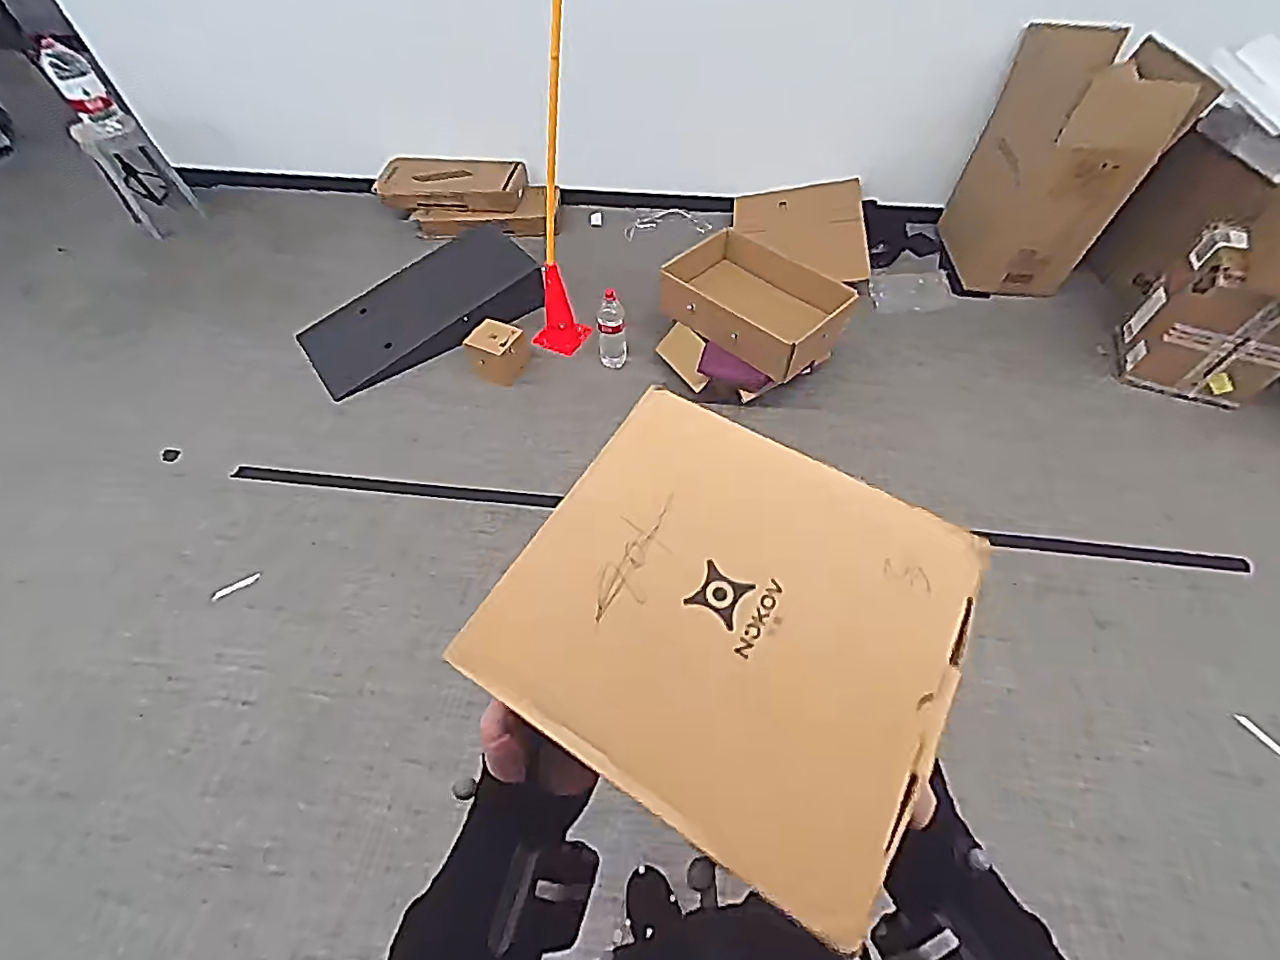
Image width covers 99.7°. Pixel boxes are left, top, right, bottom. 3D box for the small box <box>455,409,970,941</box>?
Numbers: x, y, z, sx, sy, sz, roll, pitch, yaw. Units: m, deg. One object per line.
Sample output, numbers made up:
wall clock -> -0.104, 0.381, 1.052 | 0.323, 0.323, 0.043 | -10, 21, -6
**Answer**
small box -> 0.039, 0.098, 0.305 | 0.179, 0.176, 0.168 | 26, 63, 17
